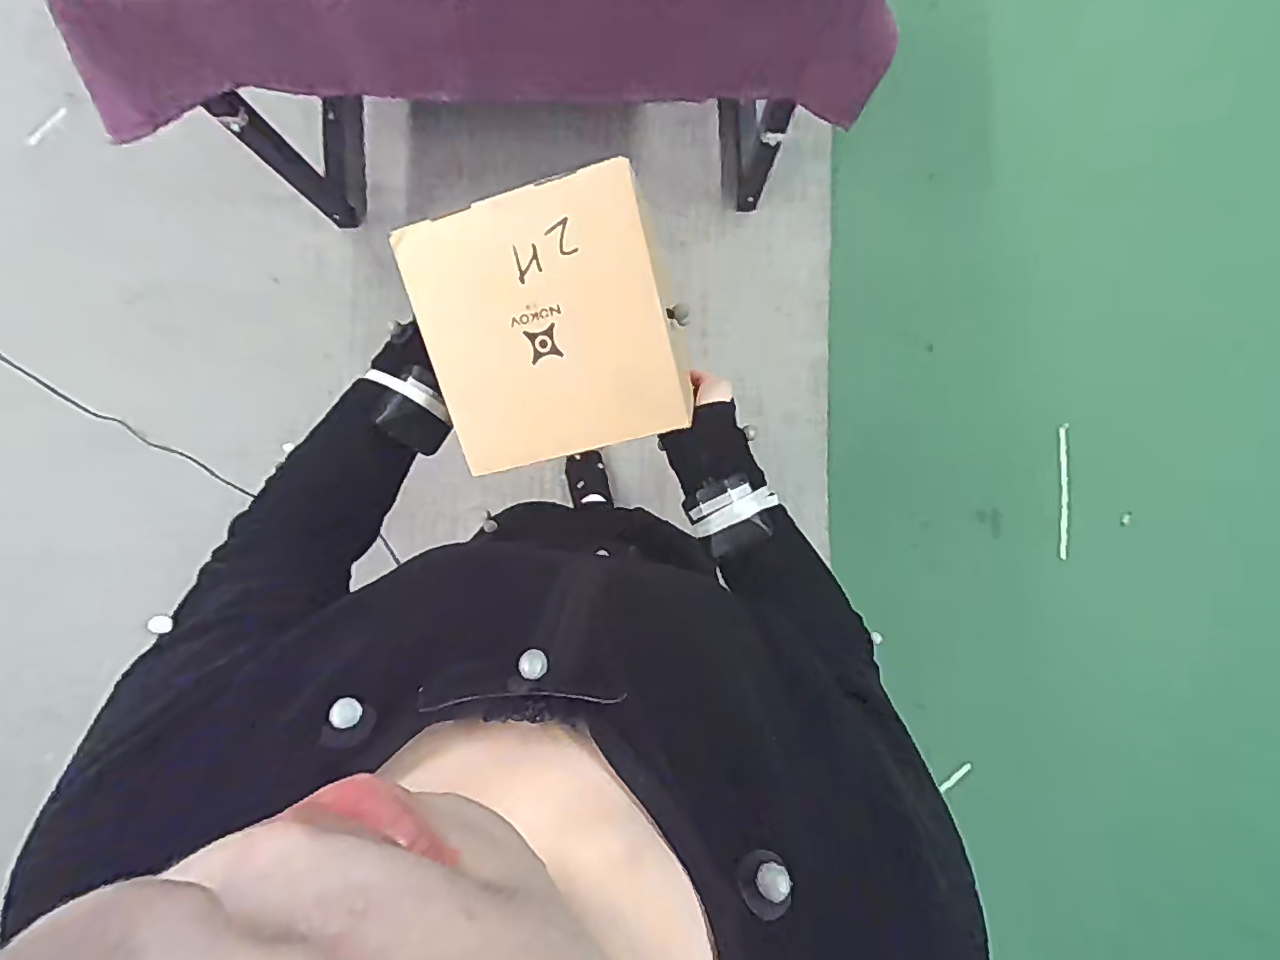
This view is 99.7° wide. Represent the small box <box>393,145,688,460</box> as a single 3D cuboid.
[{"bbox_3d":[-0.058,-0.132,0.442,0.168,0.176,0.179,-12,103,9],"label":"small box"}]
